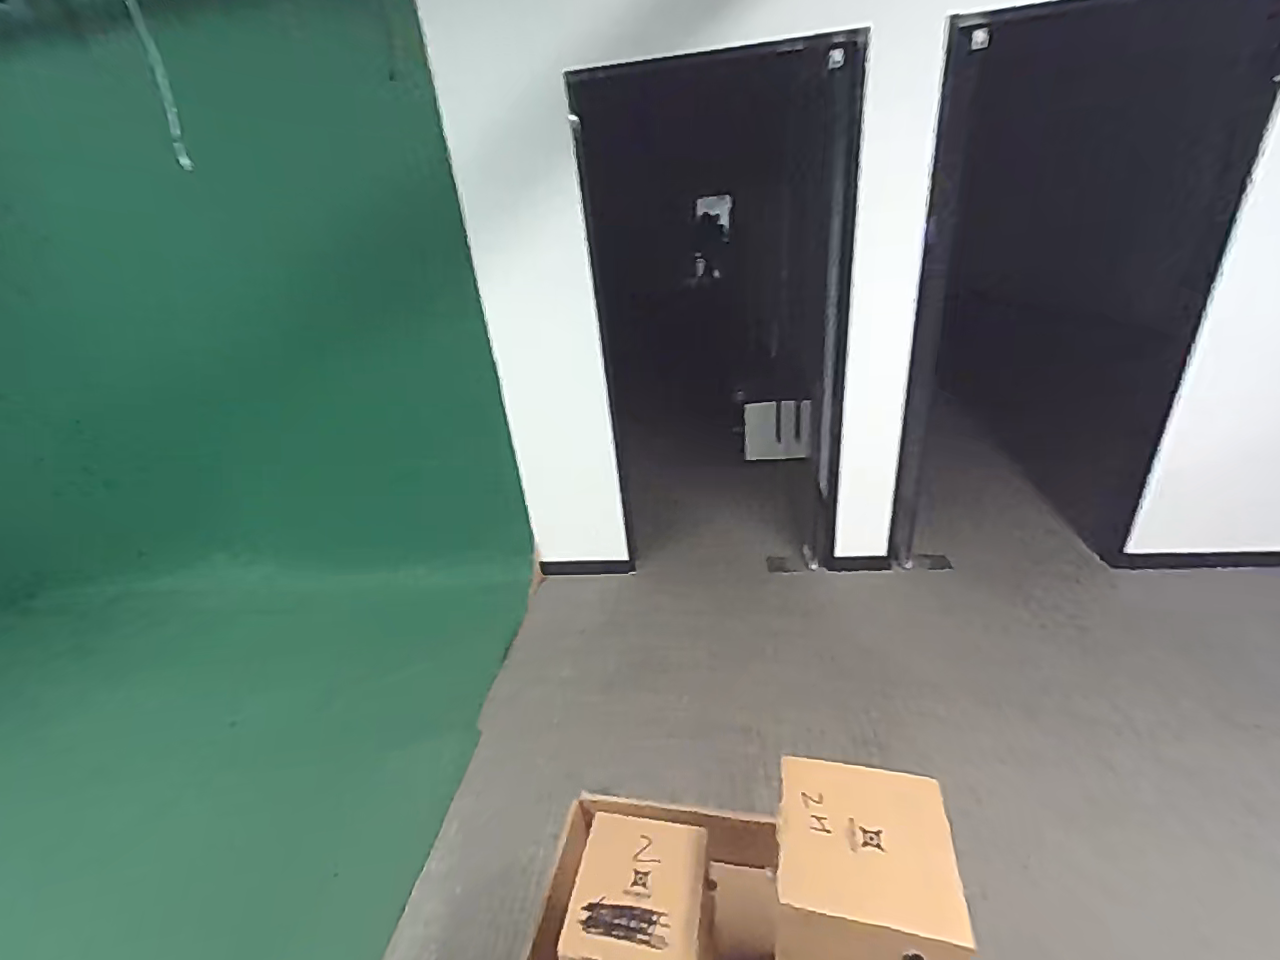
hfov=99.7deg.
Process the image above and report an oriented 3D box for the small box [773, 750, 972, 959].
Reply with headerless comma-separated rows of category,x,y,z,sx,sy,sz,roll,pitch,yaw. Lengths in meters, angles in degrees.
small box,0.246,0.444,0.608,0.179,0.176,0.168,0,27,18
